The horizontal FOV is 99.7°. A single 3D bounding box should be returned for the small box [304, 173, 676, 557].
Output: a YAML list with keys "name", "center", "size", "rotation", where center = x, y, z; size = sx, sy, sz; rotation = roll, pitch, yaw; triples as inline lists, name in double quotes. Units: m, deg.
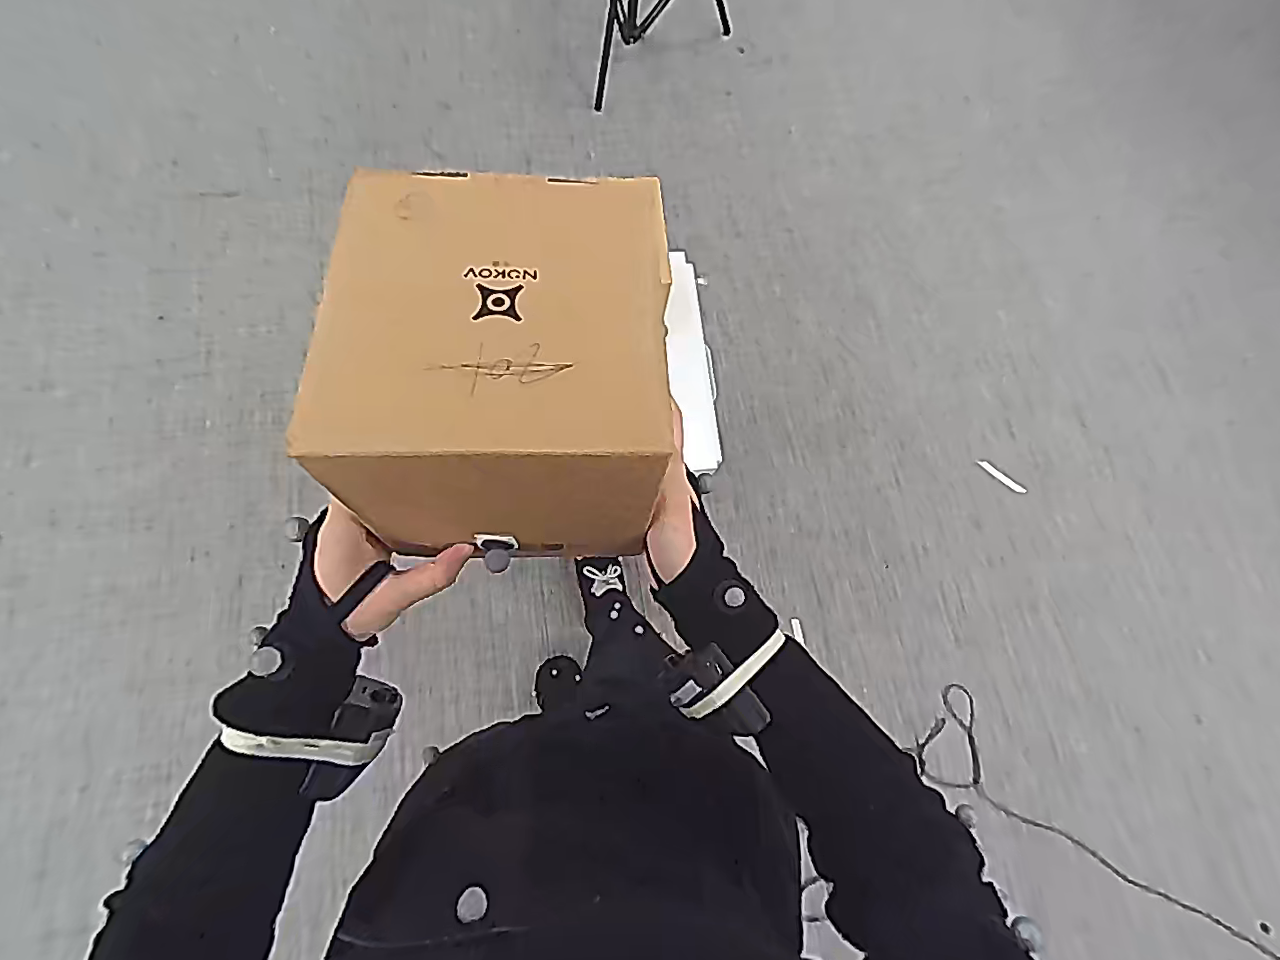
- name: "small box"
  center: [-0.075, -0.059, 0.346]
  size: [0.168, 0.176, 0.179]
  rotation: [-2, 67, -6]

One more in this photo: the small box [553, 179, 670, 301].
- name: "small box"
  center: [-0.052, -0.323, 0.827]
  size: [0.168, 0.176, 0.179]
  rotation: [-5, 76, -7]
